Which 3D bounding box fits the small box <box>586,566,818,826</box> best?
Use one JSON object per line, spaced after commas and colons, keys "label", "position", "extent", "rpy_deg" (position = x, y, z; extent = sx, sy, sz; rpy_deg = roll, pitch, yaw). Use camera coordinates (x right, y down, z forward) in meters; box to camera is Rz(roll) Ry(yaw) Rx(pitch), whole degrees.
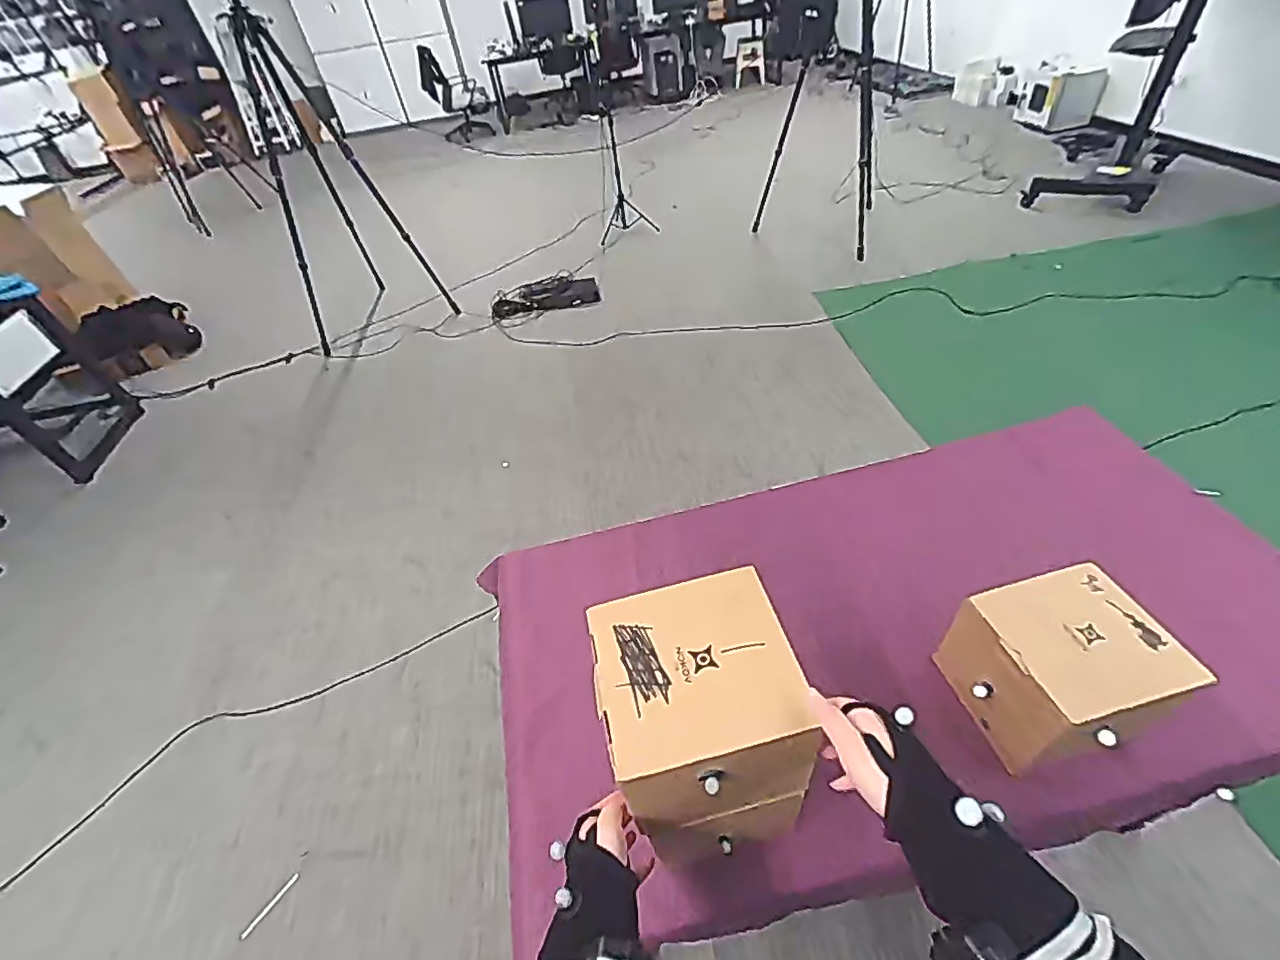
{"label": "small box", "position": [0.056, 0.217, 0.540], "extent": [0.179, 0.176, 0.168], "rpy_deg": [-13, 45, -4]}

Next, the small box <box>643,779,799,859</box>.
{"label": "small box", "position": [0.078, 0.332, 0.655], "extent": [0.168, 0.176, 0.179], "rpy_deg": [-13, 44, -4]}

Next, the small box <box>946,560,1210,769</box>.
{"label": "small box", "position": [0.514, 0.233, 0.675], "extent": [0.179, 0.176, 0.168], "rpy_deg": [-15, 45, -4]}
